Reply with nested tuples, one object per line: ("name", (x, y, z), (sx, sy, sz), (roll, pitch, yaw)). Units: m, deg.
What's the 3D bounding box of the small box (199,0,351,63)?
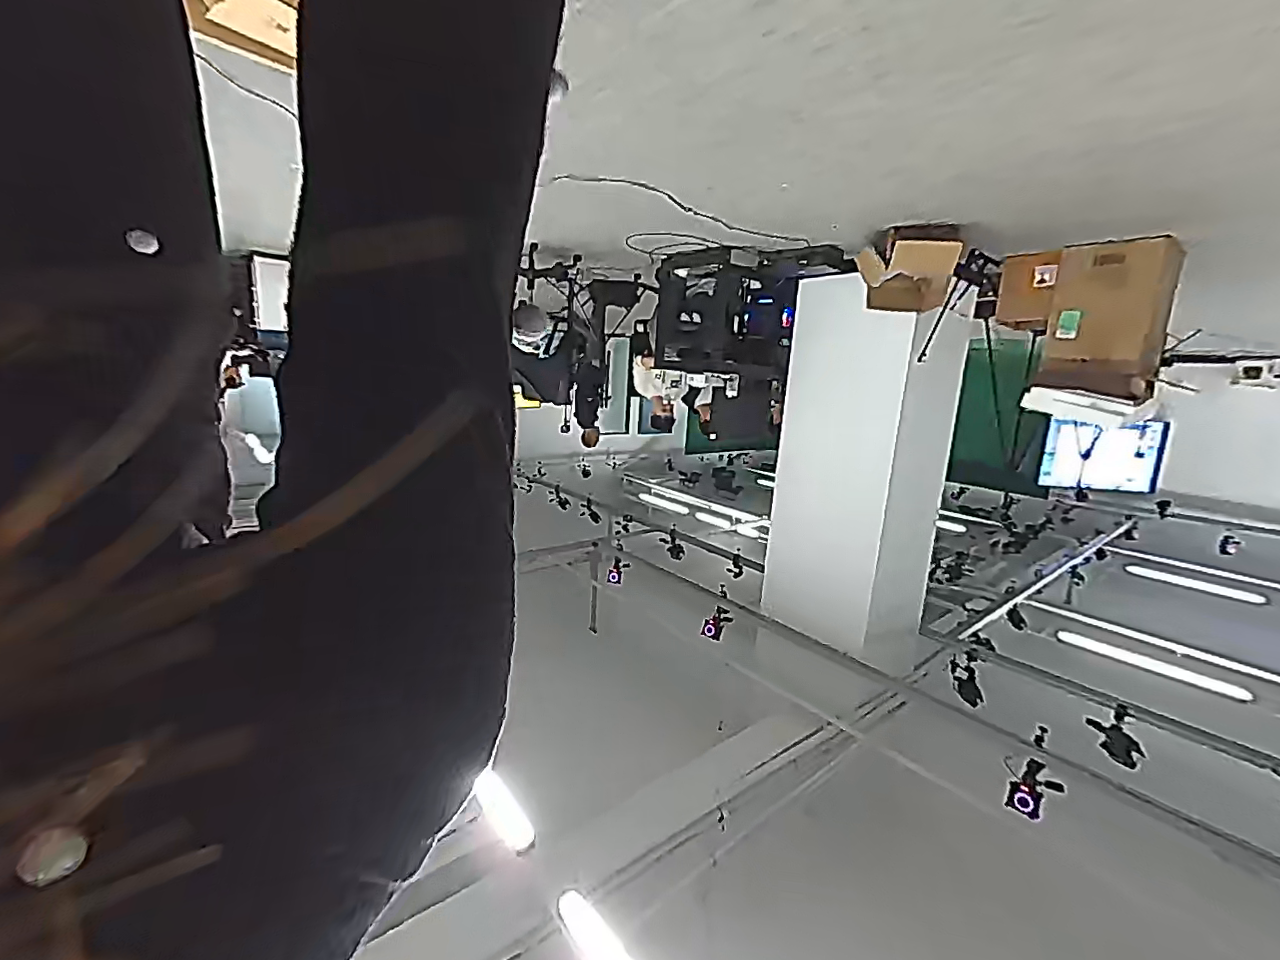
("small box", (-0.619, -0.862, 0.912), (0.168, 0.176, 0.179), (11, -166, 34))
